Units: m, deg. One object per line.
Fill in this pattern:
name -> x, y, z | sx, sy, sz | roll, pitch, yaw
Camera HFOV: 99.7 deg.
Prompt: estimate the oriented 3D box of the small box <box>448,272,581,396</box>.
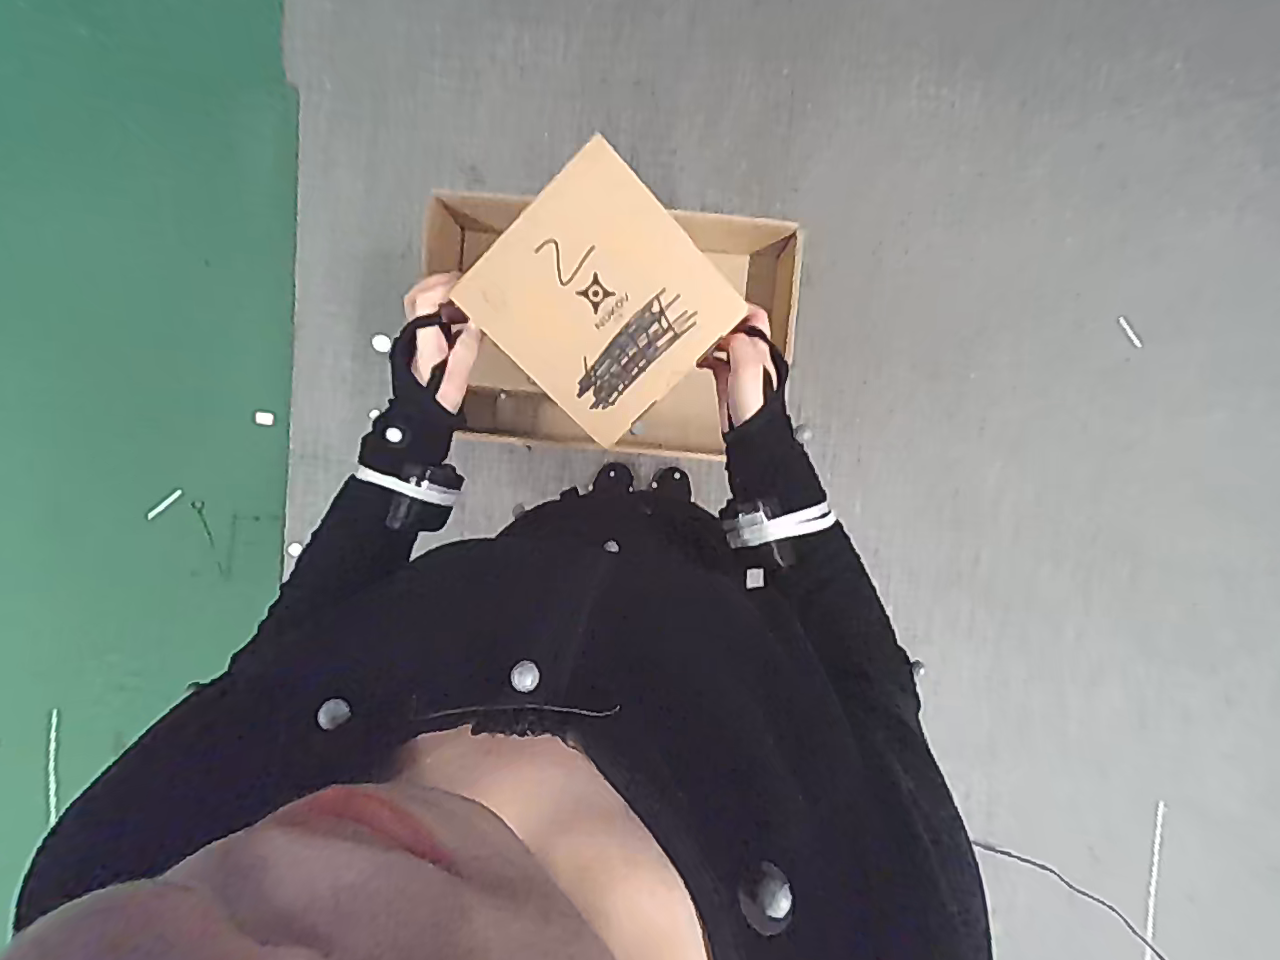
small box -> -0.208, -0.241, 0.930 | 0.179, 0.176, 0.168 | 7, 94, 1
